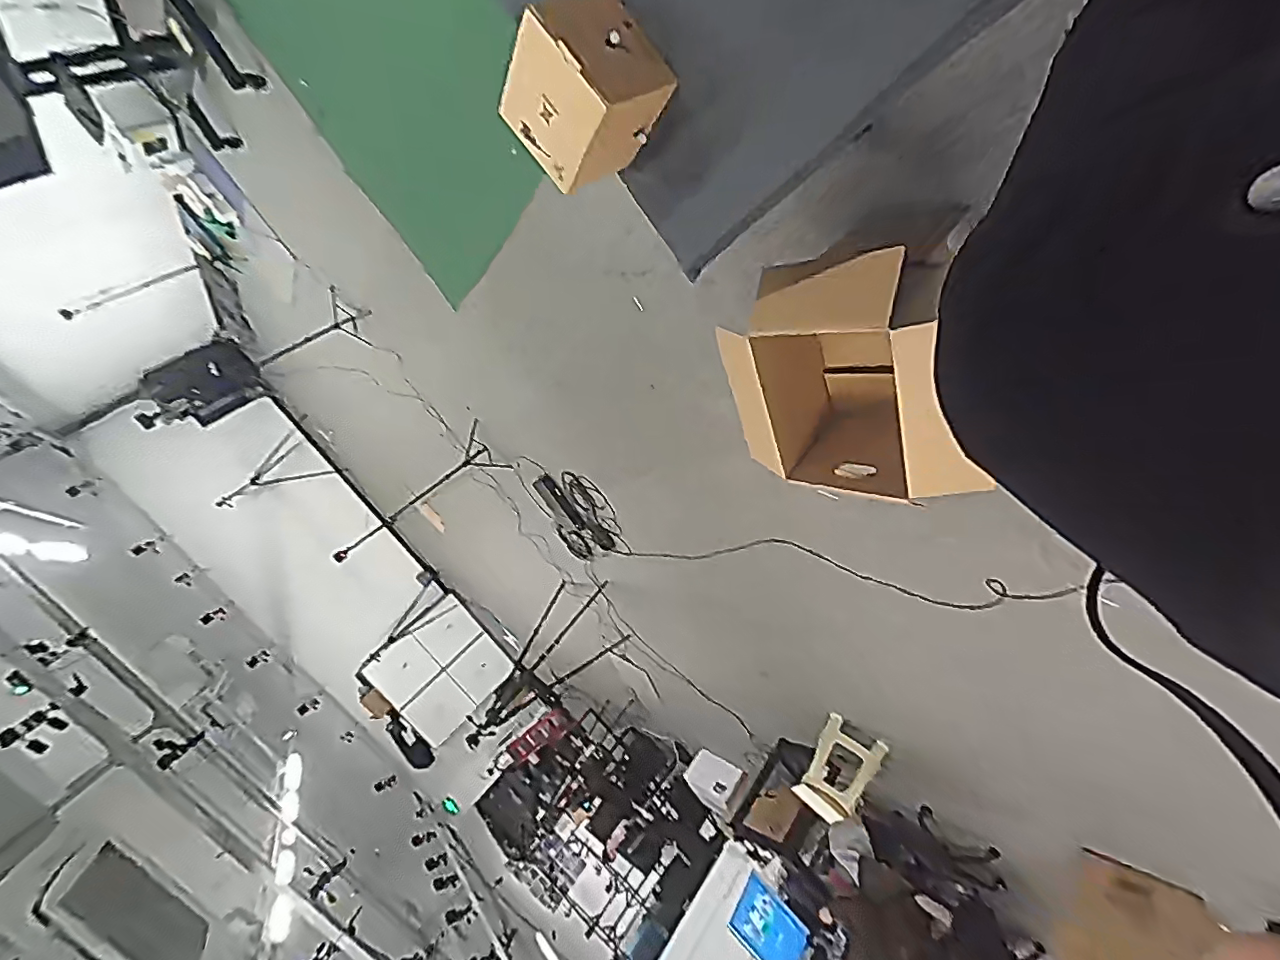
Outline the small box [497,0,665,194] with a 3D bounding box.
[{"bbox_3d":[-0.086,-0.593,0.836,0.168,0.176,0.179,51,148,-7],"label":"small box"}]
